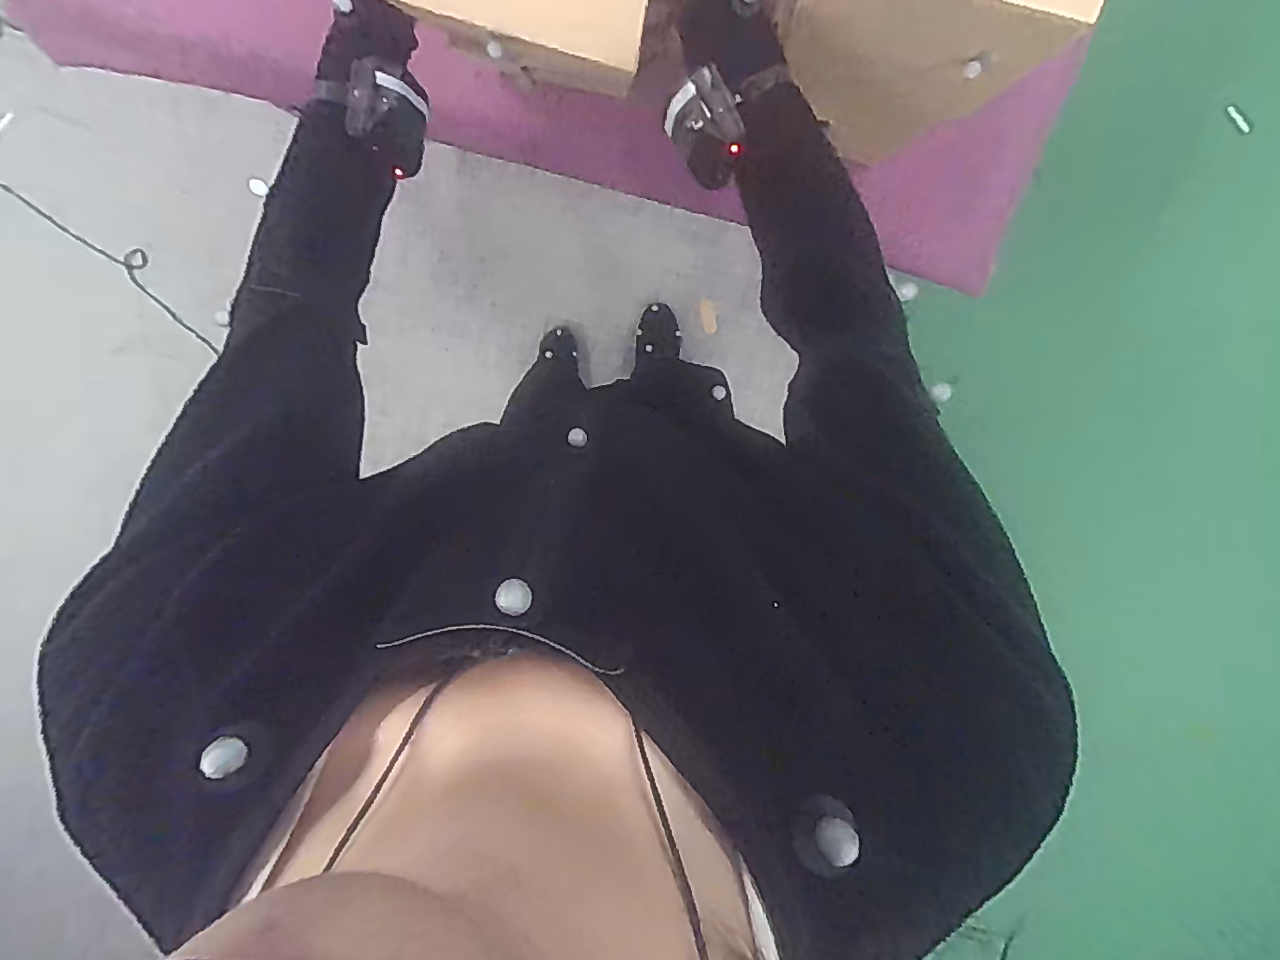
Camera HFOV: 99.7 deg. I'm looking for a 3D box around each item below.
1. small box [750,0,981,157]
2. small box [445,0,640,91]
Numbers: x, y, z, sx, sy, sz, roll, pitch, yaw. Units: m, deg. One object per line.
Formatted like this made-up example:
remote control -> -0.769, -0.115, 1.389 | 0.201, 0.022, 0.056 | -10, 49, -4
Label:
small box -> 0.217, -0.453, 0.539 | 0.168, 0.176, 0.179 | 15, 106, -2
small box -> -0.079, -0.496, 0.515 | 0.168, 0.176, 0.179 | 8, 119, -7
